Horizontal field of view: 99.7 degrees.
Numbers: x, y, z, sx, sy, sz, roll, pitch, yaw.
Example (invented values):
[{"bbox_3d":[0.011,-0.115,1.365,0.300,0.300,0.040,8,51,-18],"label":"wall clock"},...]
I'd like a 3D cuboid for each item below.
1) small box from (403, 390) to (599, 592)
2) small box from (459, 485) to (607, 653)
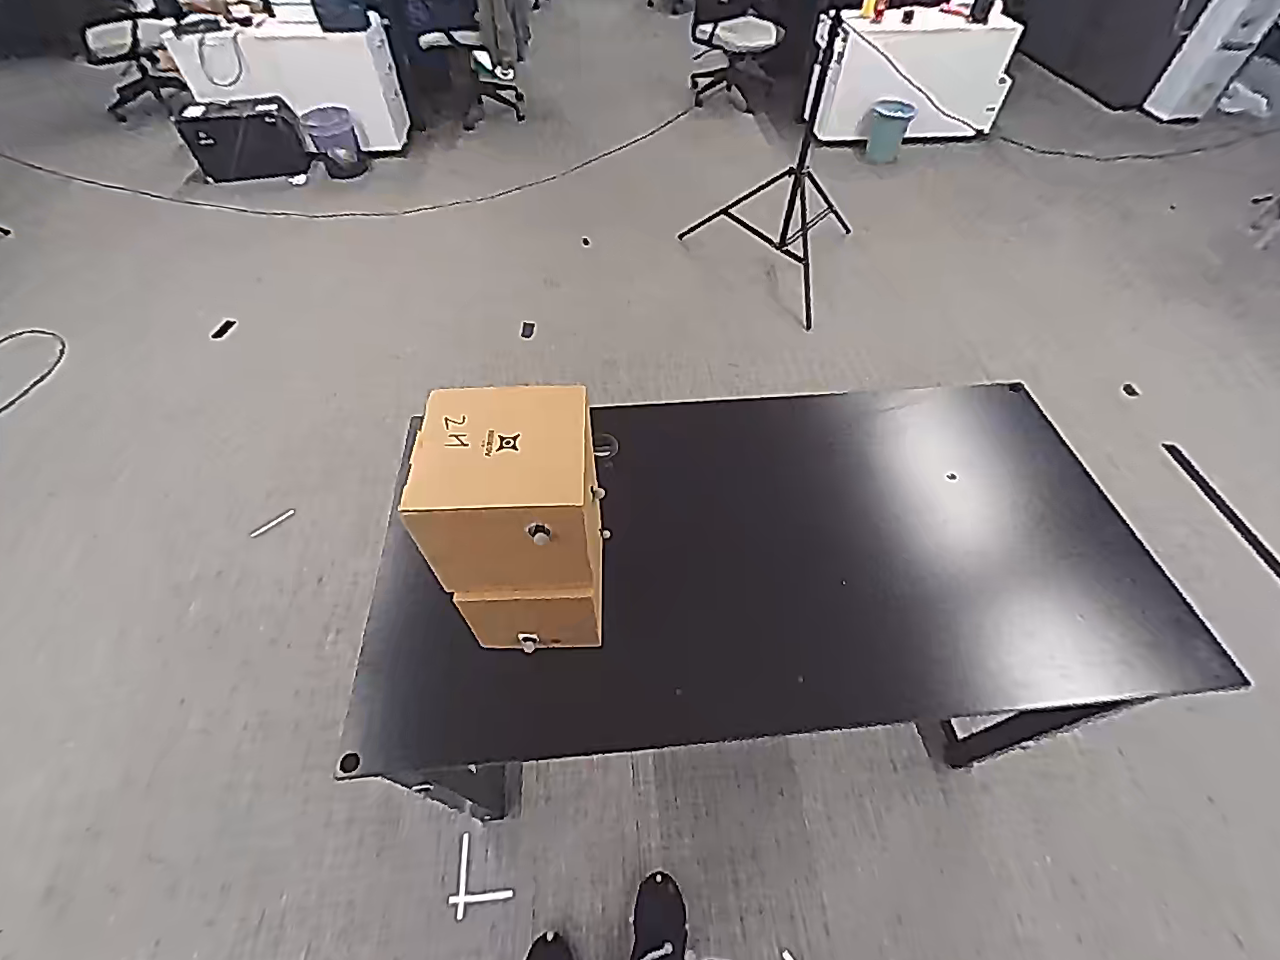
[{"bbox_3d":[-0.137,0.016,0.614,0.179,0.176,0.168,-2,52,-1],"label":"small box"},{"bbox_3d":[-0.133,0.121,0.742,0.168,0.176,0.179,-2,54,-1],"label":"small box"}]
